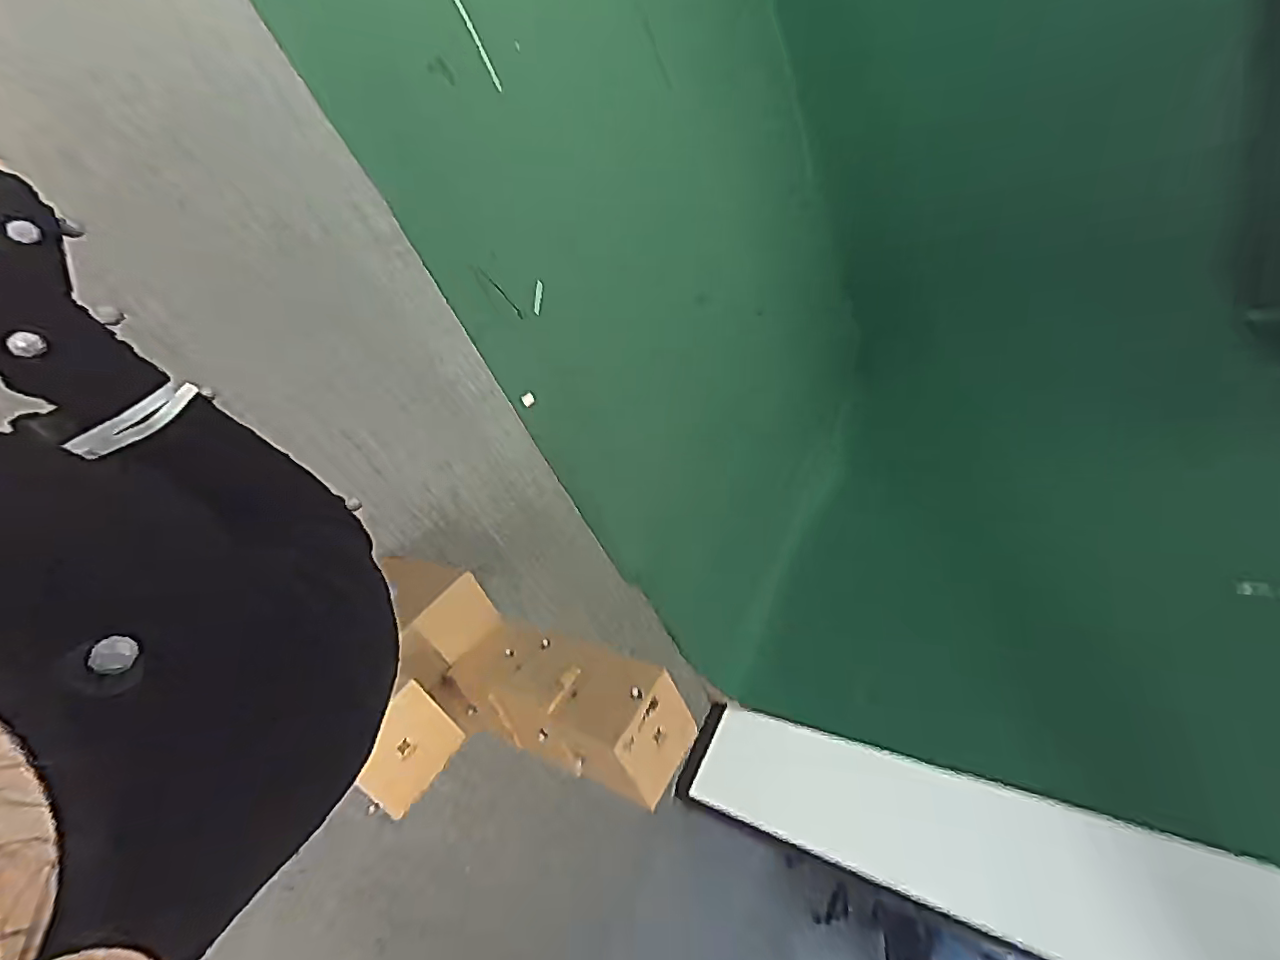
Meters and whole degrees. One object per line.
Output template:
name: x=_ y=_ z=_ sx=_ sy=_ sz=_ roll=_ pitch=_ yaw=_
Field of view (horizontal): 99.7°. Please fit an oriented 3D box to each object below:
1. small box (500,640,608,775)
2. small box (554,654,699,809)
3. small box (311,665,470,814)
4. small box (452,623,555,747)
small box: x=-0.152 y=0.444 z=1.091 sx=0.168 sy=0.176 sz=0.179 roll=-38 pitch=119 yaw=-41
small box: x=-0.023 y=0.446 z=0.989 sx=0.168 sy=0.176 sz=0.179 roll=-46 pitch=123 yaw=-39
small box: x=-0.460 y=0.463 z=0.994 sx=0.168 sy=0.176 sz=0.179 roll=-49 pitch=124 yaw=-36
small box: x=-0.277 y=0.443 z=1.199 sx=0.179 sy=0.176 sz=0.168 roll=-39 pitch=118 yaw=-40
